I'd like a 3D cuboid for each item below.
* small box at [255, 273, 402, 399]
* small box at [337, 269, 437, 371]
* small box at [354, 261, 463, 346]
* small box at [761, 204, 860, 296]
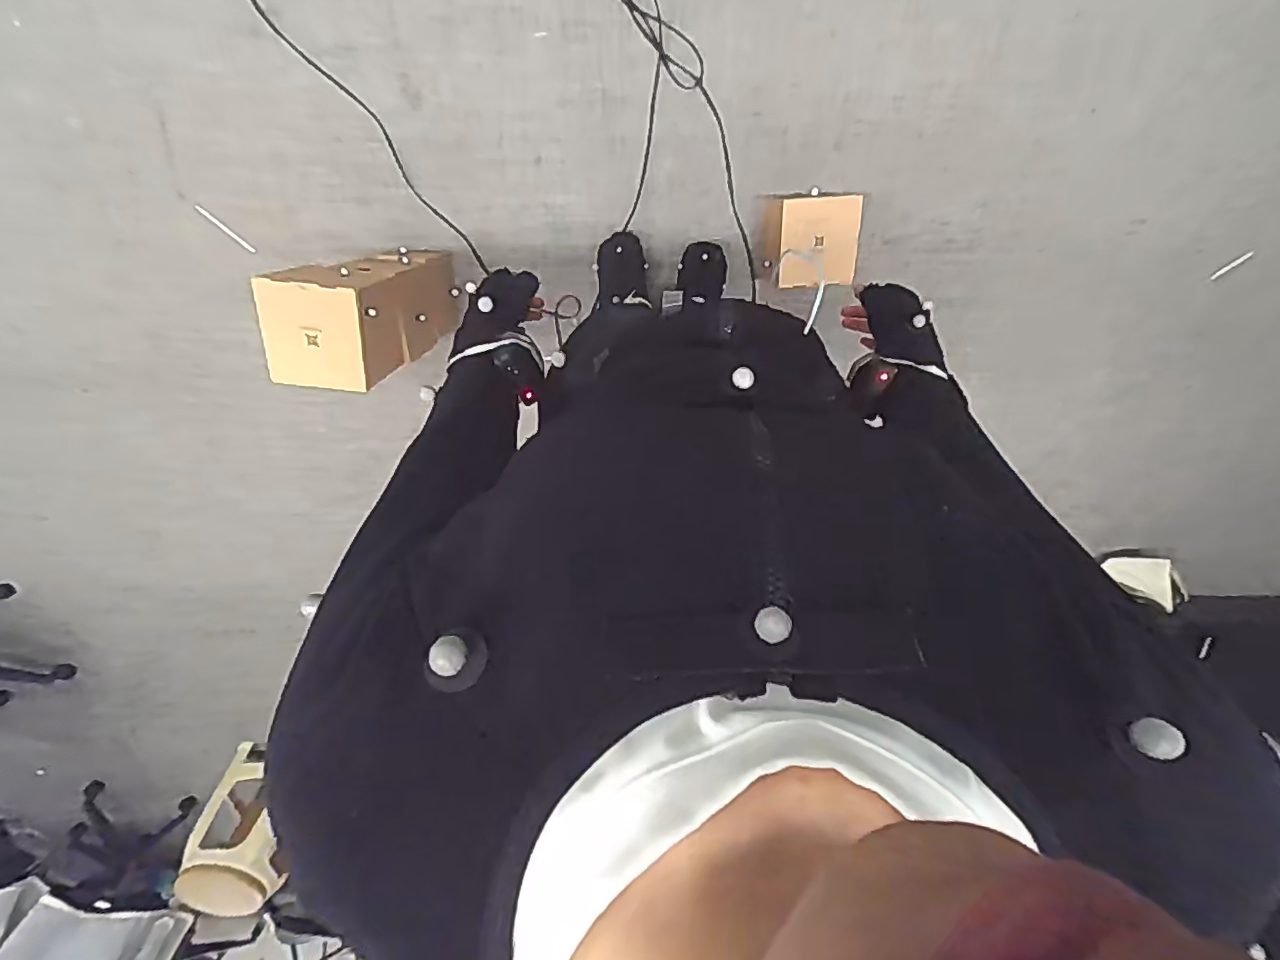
[{"bbox_3d":[-0.547,-0.265,0.979,0.168,0.176,0.179,6,117,-3],"label":"small box"},{"bbox_3d":[-0.538,-0.338,1.124,0.168,0.176,0.179,2,118,-1],"label":"small box"},{"bbox_3d":[-0.534,-0.419,1.270,0.168,0.176,0.179,0,116,3],"label":"small box"},{"bbox_3d":[0.374,-0.521,1.220,0.168,0.176,0.179,-2,117,0],"label":"small box"}]
